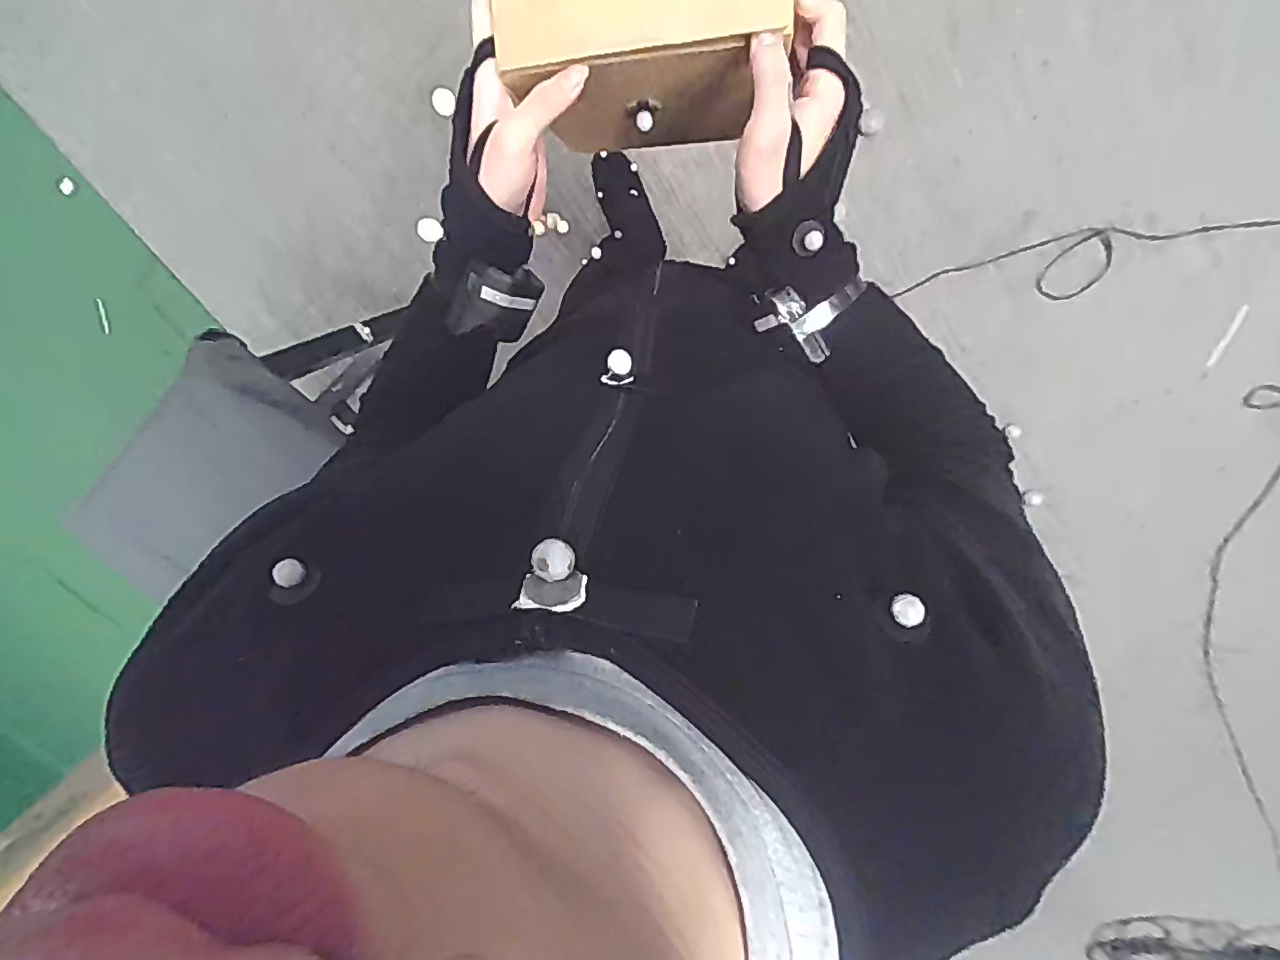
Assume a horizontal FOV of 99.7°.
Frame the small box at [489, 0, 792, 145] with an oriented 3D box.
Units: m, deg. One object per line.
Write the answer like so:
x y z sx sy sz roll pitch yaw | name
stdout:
0.009 -0.348 0.366 0.179 0.176 0.168 2 106 10 | small box
